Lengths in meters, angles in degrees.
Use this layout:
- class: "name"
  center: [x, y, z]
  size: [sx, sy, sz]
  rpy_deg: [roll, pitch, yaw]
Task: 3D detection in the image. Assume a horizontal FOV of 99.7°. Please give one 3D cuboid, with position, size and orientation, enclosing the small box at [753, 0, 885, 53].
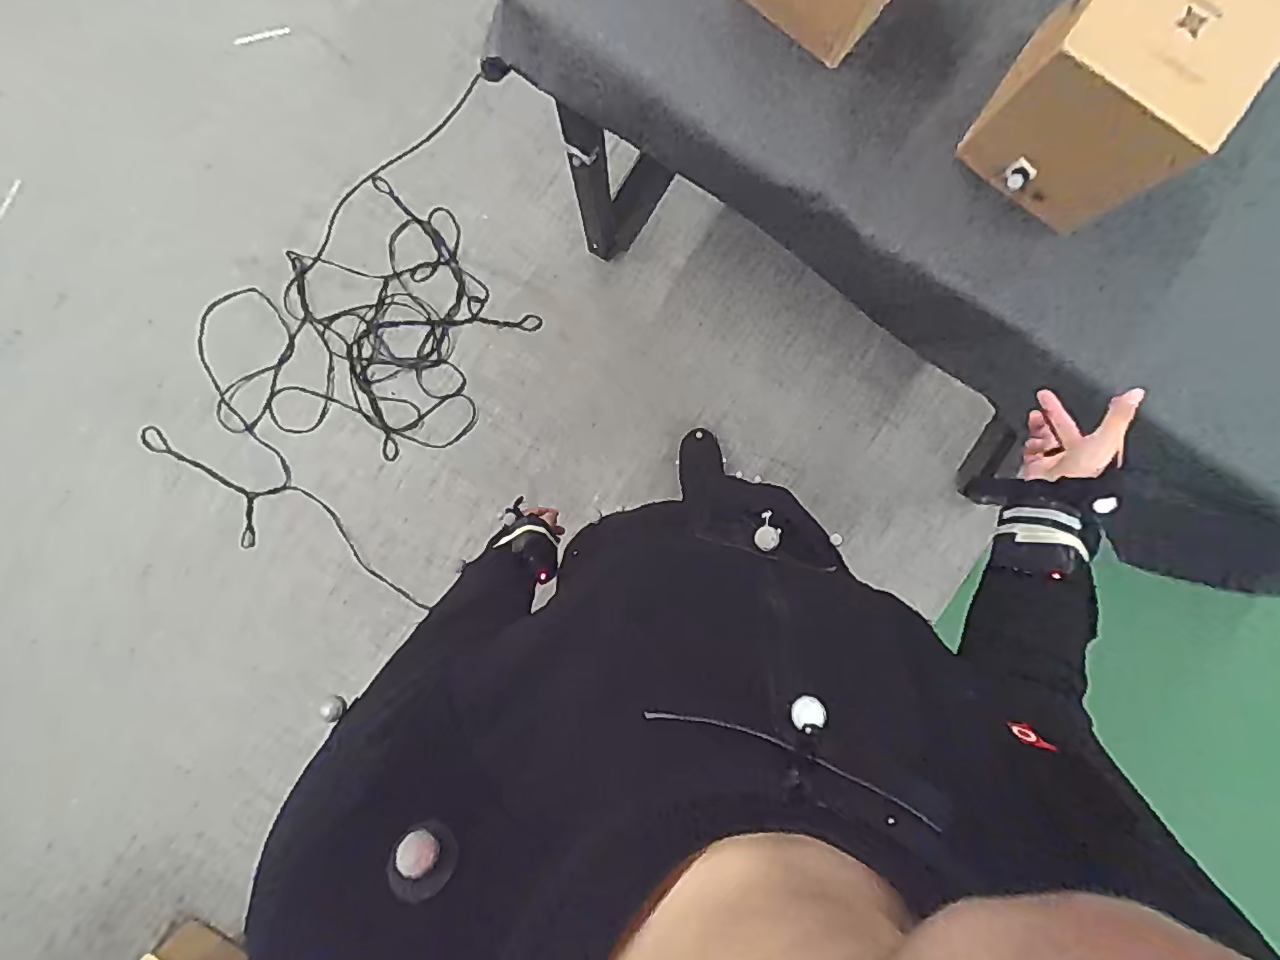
- class: "small box"
  center: [0.209, -0.589, 0.543]
  size: [0.179, 0.176, 0.168]
  rpy_deg: [38, 90, -1]

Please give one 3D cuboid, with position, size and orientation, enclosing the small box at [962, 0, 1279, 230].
- class: "small box"
  center: [0.478, -0.401, 0.551]
  size: [0.168, 0.176, 0.179]
  rpy_deg: [34, 90, 0]
